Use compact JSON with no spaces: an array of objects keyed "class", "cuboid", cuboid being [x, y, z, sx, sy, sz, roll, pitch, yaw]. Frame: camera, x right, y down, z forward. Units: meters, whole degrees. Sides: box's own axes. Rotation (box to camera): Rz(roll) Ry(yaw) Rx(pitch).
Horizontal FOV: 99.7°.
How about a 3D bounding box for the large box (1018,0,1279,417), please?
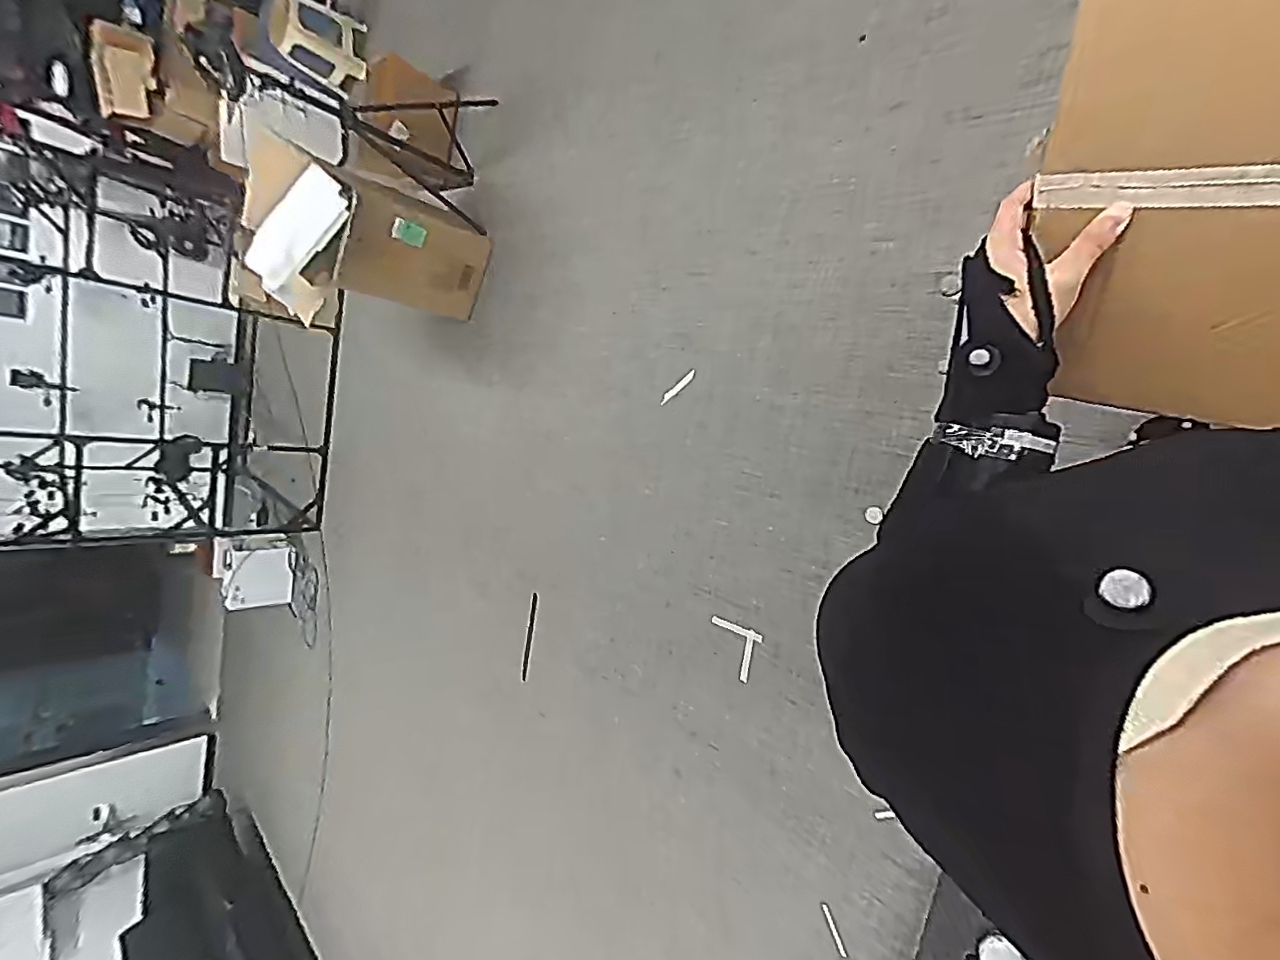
[{"class":"large box","cuboid":[0.522,-0.232,0.316,0.408,0.320,0.320,23,143,41]}]
